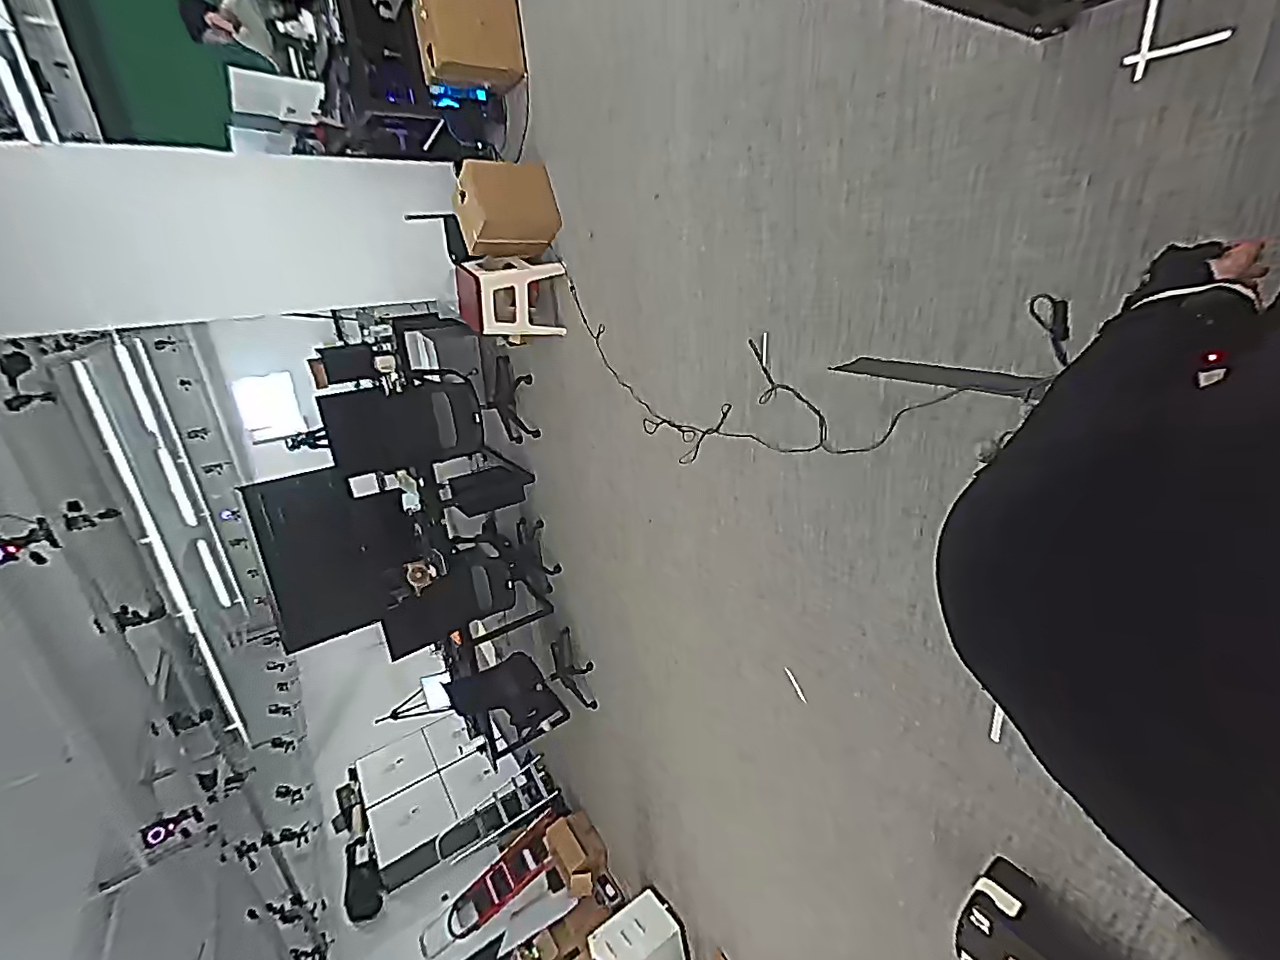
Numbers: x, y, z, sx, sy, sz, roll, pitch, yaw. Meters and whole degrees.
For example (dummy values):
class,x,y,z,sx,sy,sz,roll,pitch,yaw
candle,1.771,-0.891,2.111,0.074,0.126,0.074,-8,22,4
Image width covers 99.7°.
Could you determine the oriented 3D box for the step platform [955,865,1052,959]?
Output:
class,x,y,z,sx,sy,sz,roll,pitch,yaw
step platform,1.189,1.386,1.376,0.684,0.204,0.286,25,126,50
